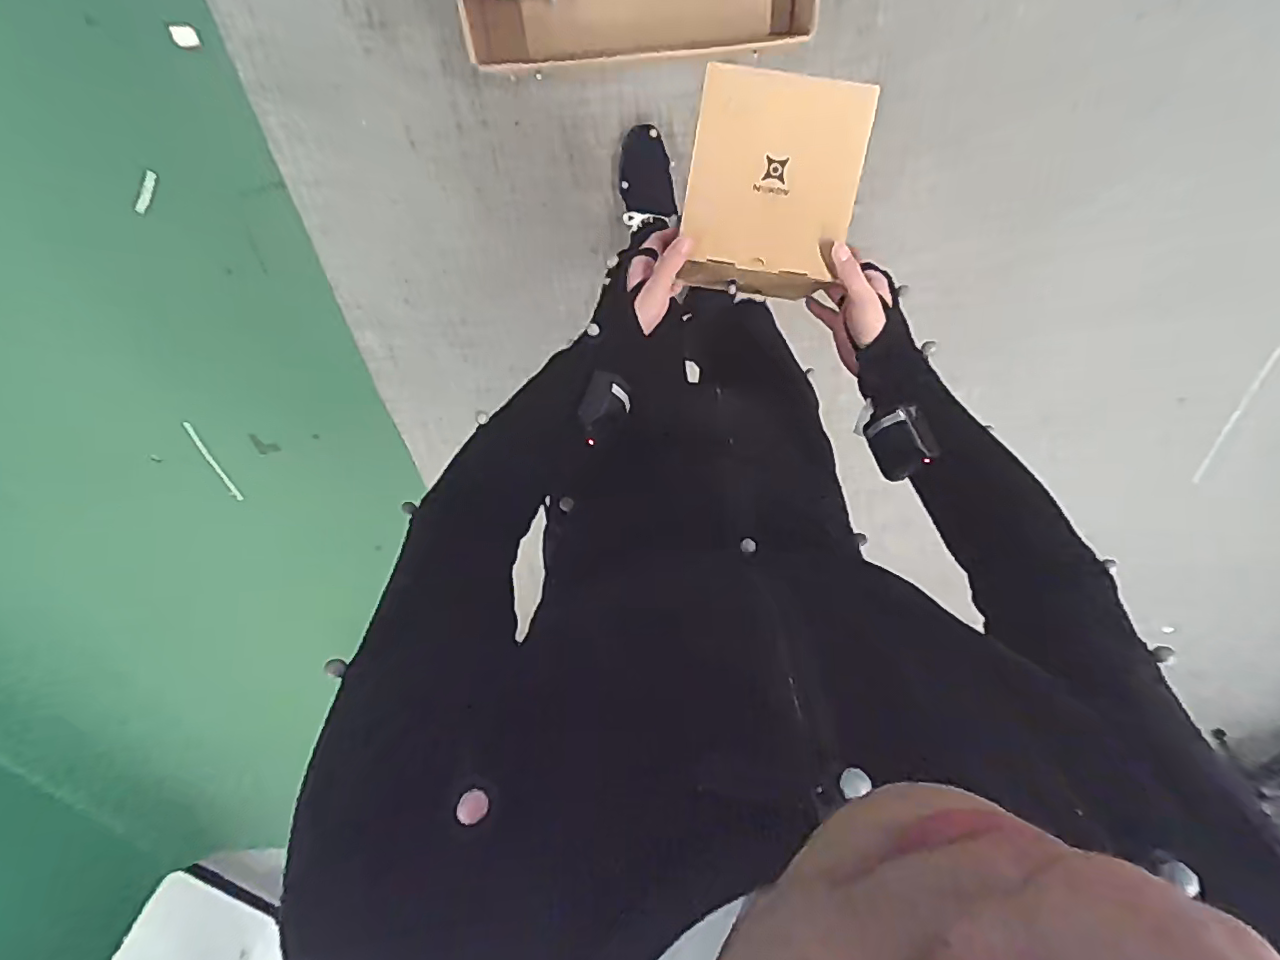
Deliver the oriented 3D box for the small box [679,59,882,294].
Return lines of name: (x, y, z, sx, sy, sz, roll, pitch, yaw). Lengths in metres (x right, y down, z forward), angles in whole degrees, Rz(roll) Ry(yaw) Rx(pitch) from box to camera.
small box: (0.137, -0.315, 0.600, 0.168, 0.176, 0.179, 10, 105, 1)
